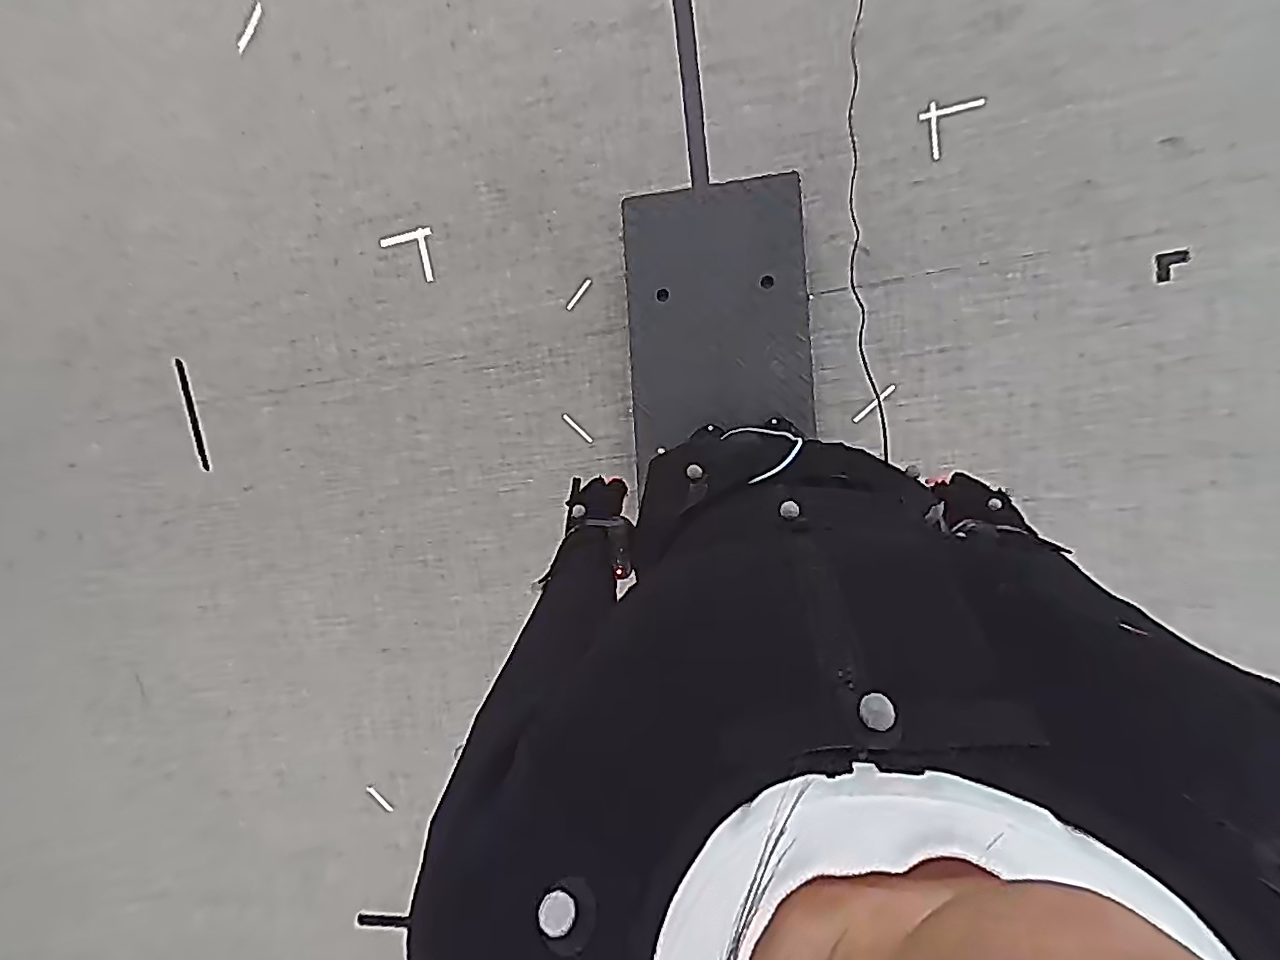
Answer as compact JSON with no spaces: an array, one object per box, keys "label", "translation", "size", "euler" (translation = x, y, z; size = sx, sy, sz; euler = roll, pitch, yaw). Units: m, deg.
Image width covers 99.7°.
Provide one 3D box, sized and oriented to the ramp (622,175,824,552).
[{"label":"ramp","translation":[0.212,-0.310,1.477],"size":[0.509,0.206,0.991],"euler":[-5,97,12]}]
